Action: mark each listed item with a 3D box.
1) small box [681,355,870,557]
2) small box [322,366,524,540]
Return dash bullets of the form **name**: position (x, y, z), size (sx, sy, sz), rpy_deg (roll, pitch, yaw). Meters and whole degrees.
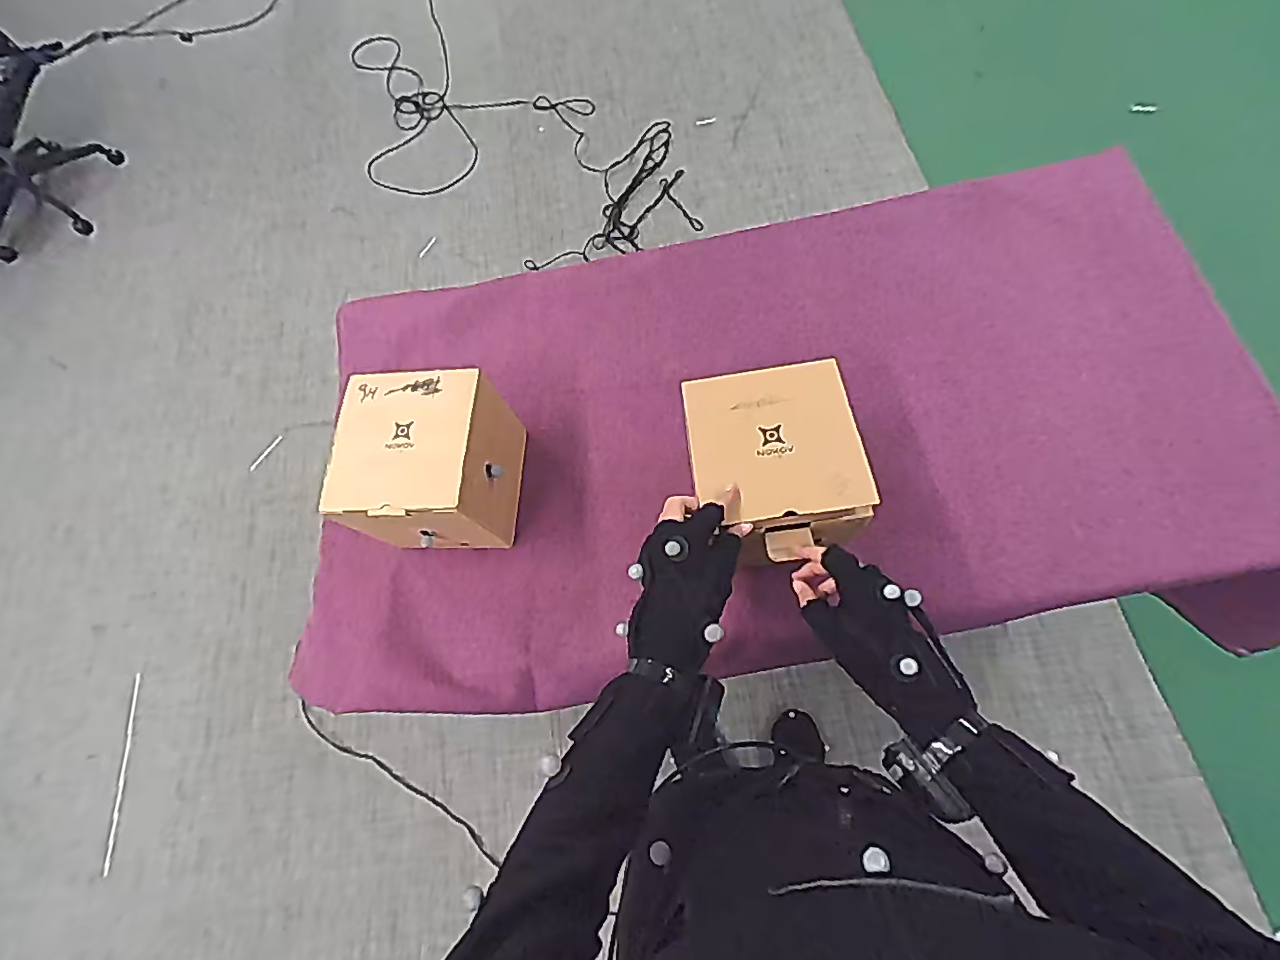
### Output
- **small box**: position (0.143, -0.014, 0.620), size (0.168, 0.176, 0.179), rpy_deg (-8, 68, 5)
- **small box**: position (-0.256, -0.023, 0.683), size (0.168, 0.176, 0.179), rpy_deg (-1, 70, 8)
